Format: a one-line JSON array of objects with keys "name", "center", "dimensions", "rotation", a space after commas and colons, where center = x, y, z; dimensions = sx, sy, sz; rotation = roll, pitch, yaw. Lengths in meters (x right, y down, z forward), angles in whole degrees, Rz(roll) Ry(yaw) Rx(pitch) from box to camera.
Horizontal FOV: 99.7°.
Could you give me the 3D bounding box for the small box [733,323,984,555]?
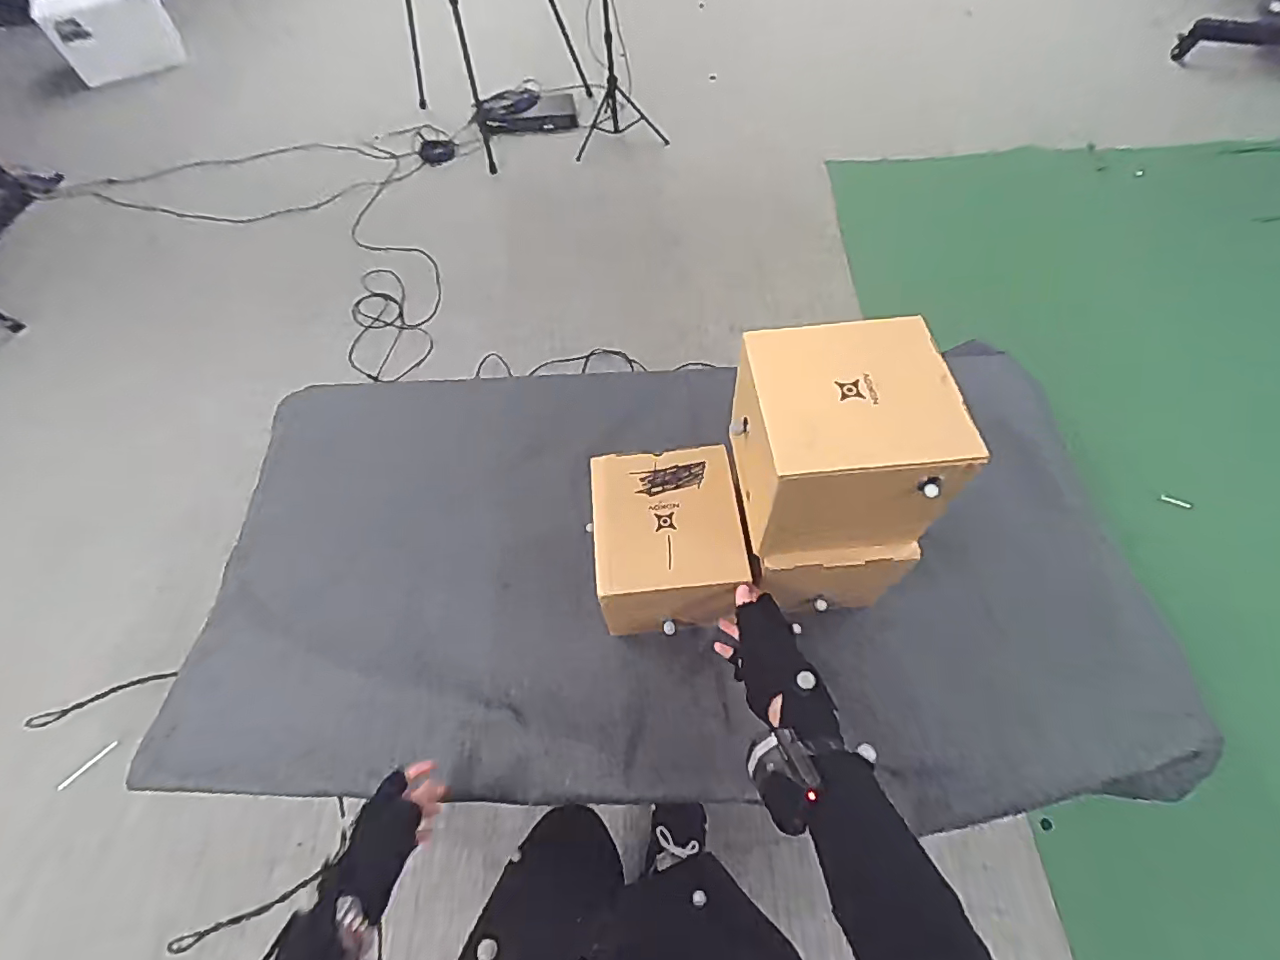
[{"name": "small box", "center": [0.194, -0.033, 0.548], "dimensions": [0.179, 0.176, 0.168], "rotation": [-5, 59, 0]}]
